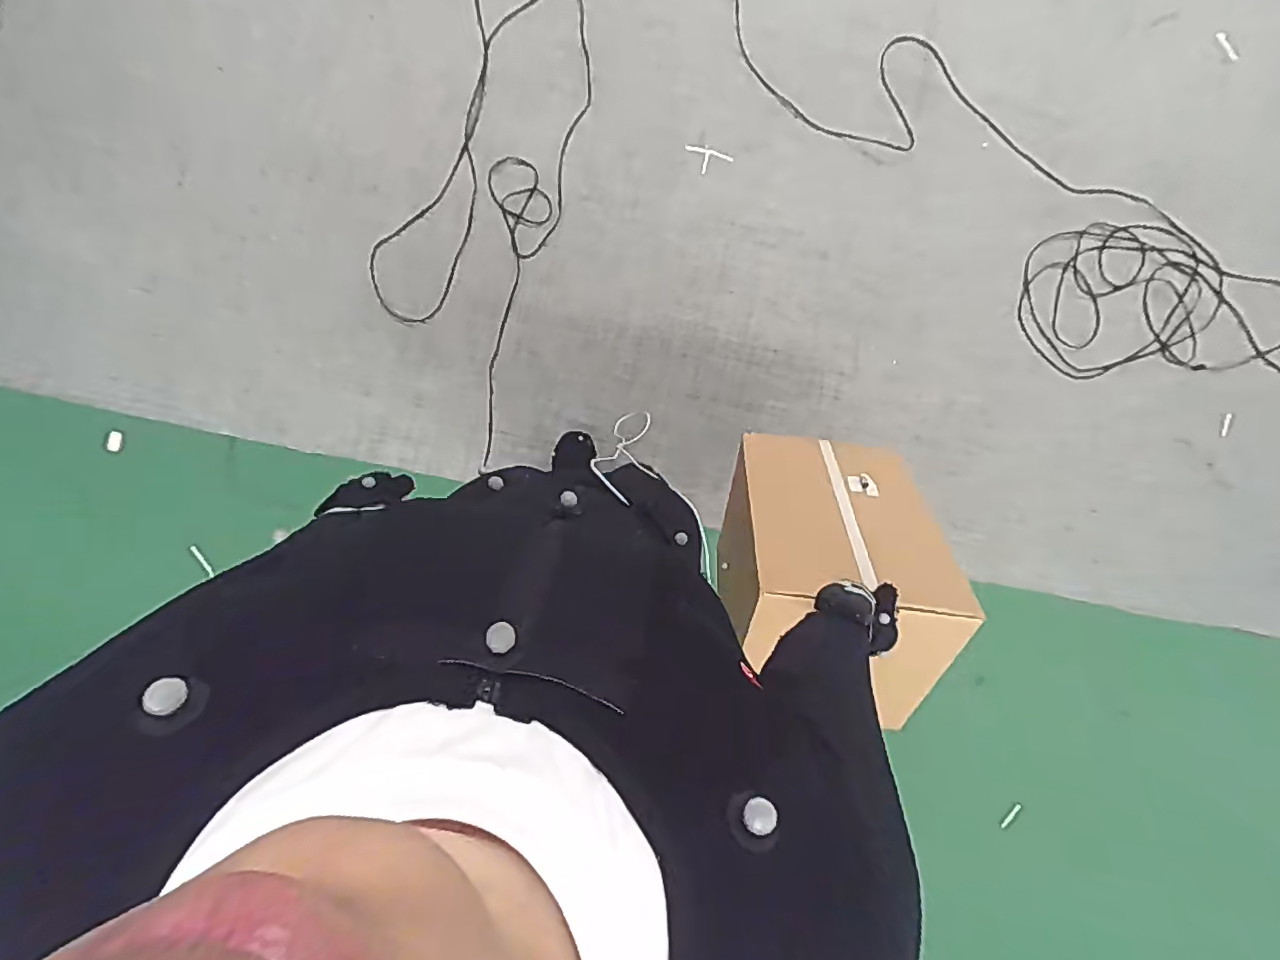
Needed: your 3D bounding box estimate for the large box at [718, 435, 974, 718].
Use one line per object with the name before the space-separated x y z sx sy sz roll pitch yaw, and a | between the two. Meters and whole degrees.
large box | 0.324 0.167 1.003 0.320 0.408 0.320 8 129 1
